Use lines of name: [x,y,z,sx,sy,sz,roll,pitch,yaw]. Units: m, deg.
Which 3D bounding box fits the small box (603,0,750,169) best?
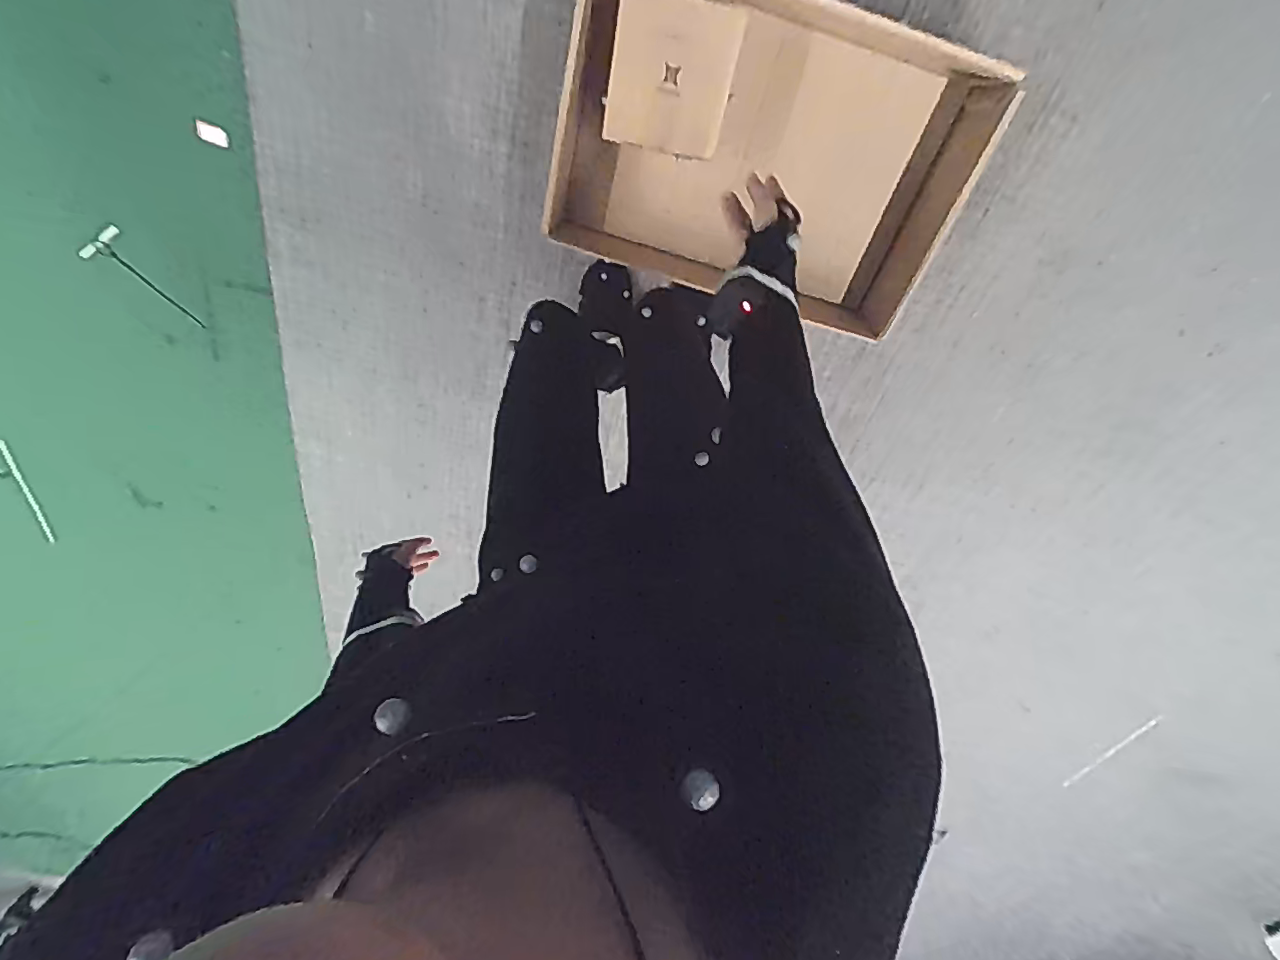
small box: [0.051,-0.583,0.795,0.168,0.176,0.179,13,125,-4]
